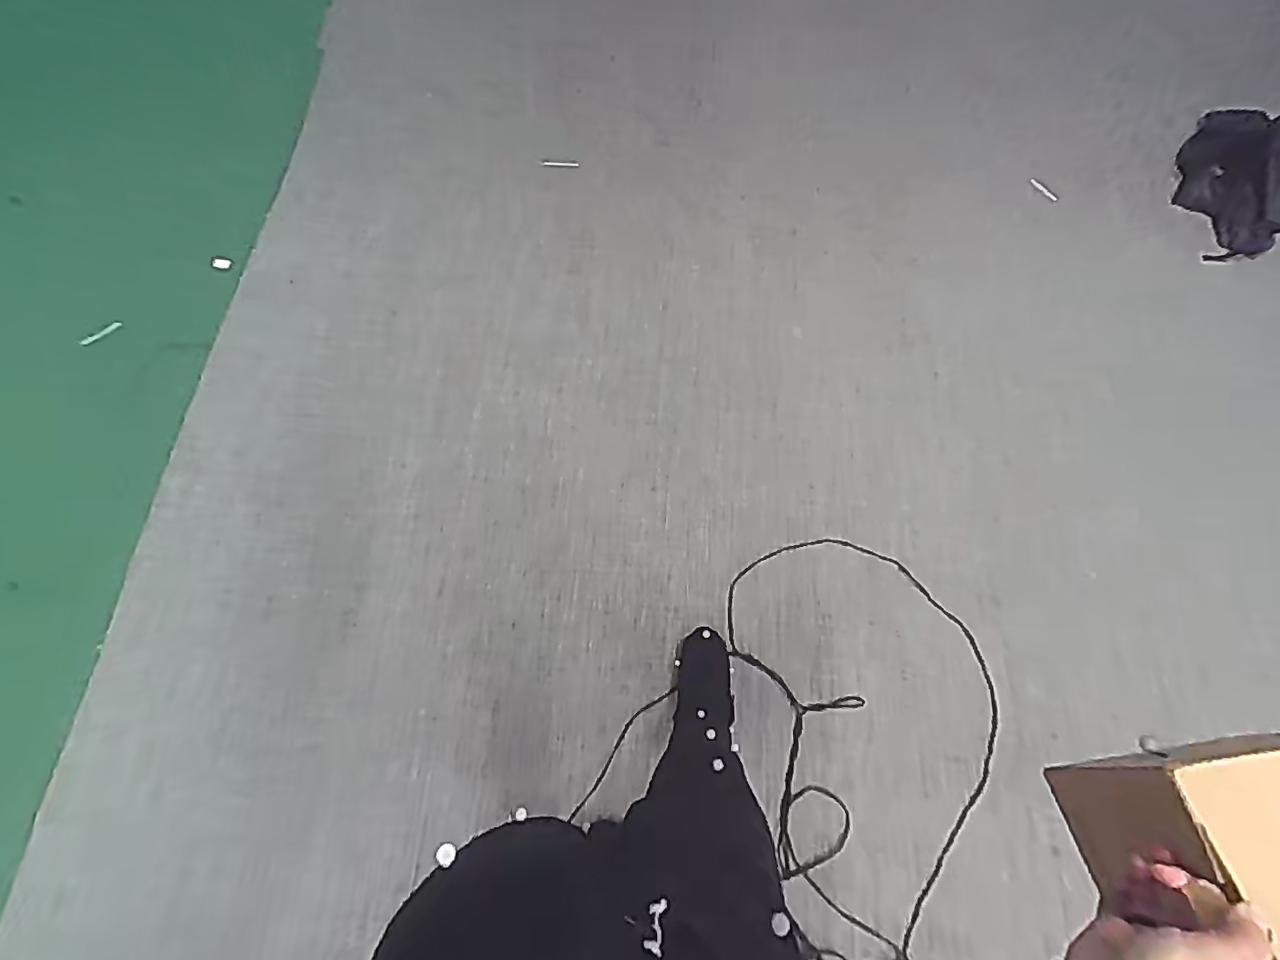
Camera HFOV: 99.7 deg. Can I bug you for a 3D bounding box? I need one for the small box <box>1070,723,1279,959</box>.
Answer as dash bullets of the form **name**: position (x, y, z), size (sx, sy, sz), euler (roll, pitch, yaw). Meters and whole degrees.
- **small box**: position (0.449, 0.267, 0.371), size (0.179, 0.176, 0.168), euler (-12, 61, 3)
